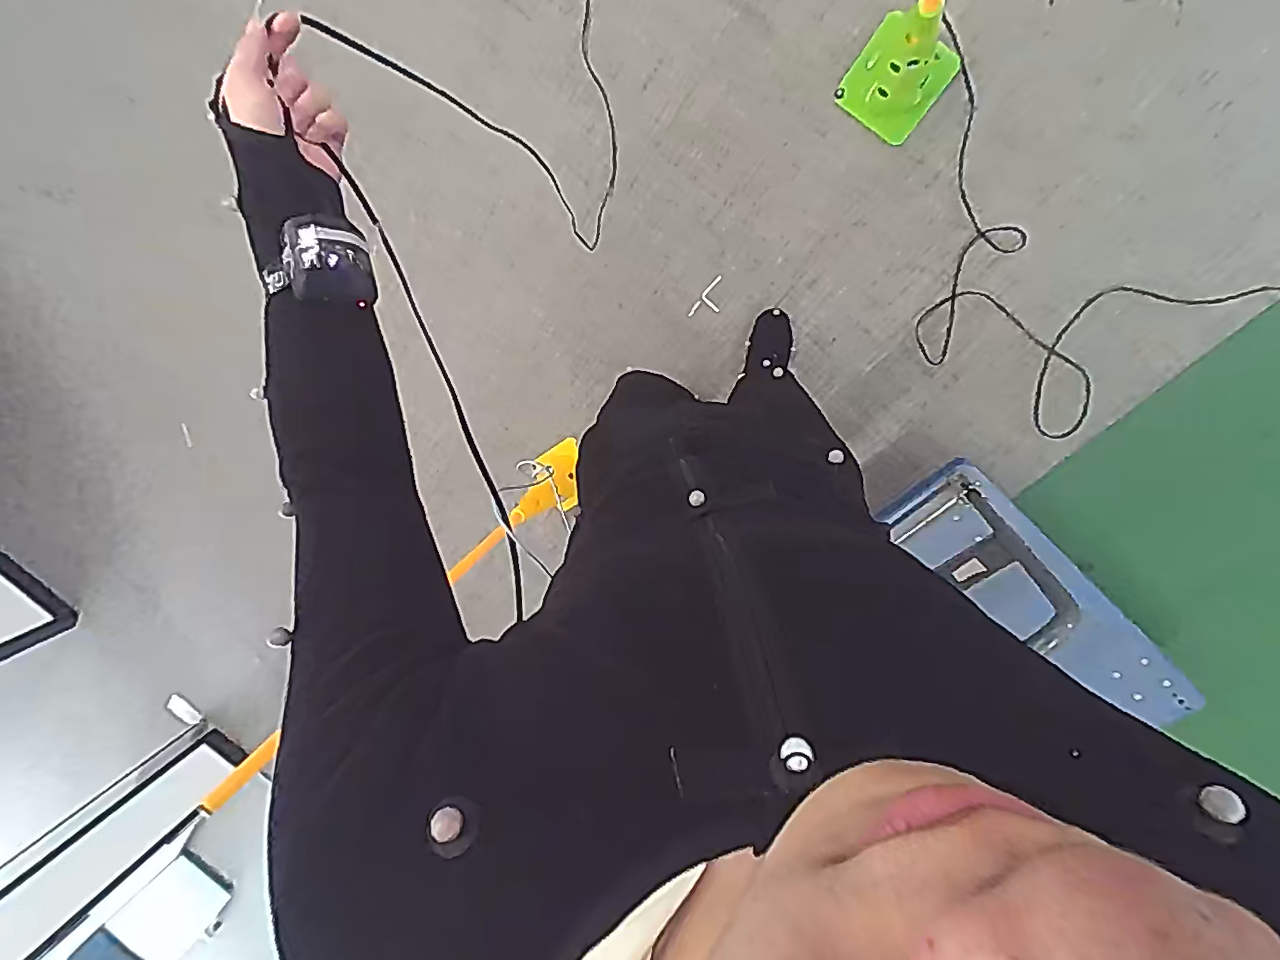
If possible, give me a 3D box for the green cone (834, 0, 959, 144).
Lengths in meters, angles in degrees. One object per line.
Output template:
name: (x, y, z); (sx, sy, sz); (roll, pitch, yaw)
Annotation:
green cone: (0.531, -0.850, 1.061); (0.200, 0.368, 0.202); (37, 113, 1)
